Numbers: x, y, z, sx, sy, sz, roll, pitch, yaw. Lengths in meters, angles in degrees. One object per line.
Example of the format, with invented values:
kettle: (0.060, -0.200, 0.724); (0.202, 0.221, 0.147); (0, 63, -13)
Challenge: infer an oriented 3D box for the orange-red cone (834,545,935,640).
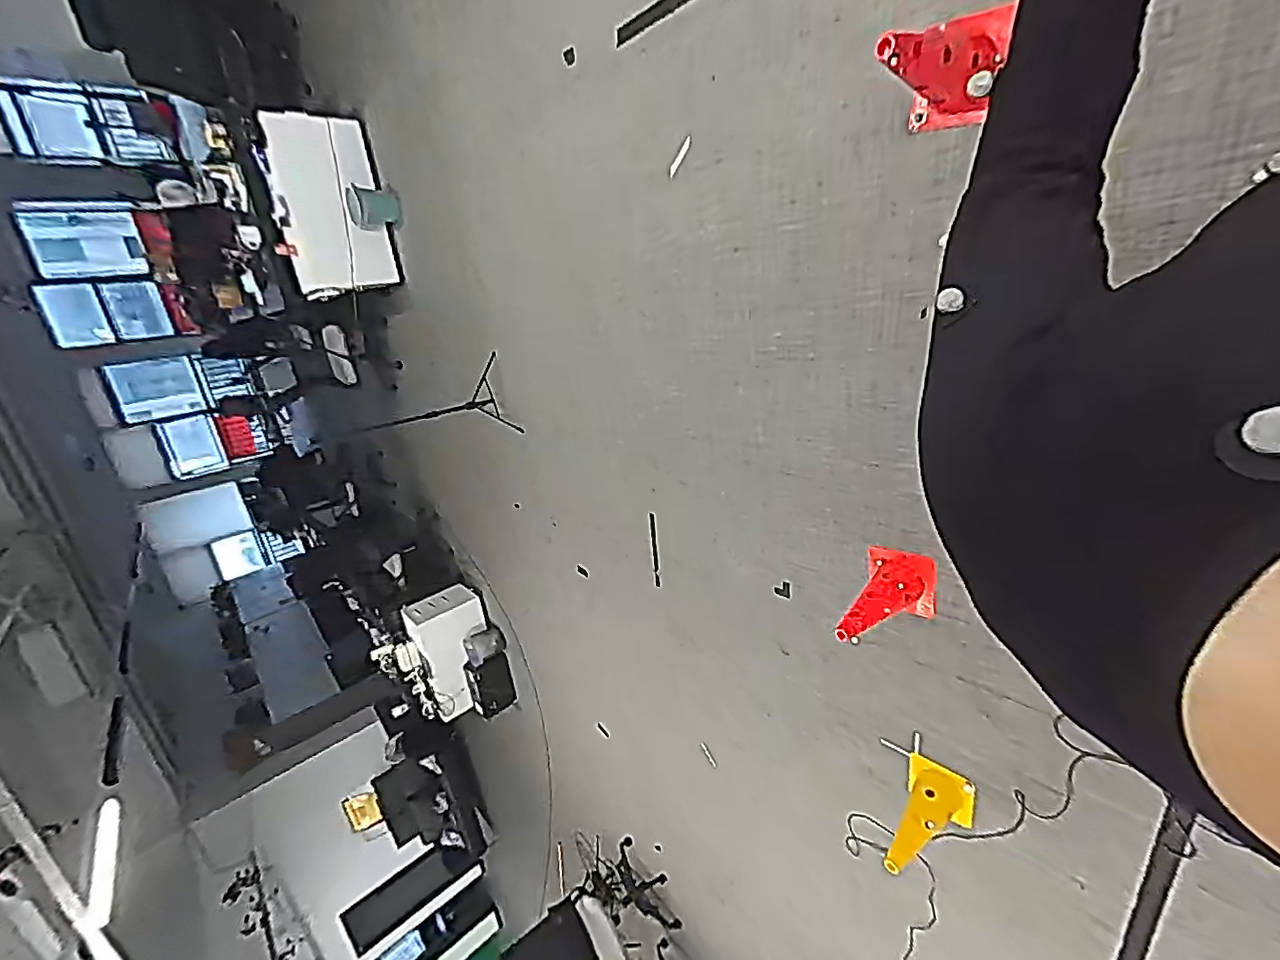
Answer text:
orange-red cone: (0.674, 0.363, 1.560); (0.198, 0.360, 0.199); (13, 119, 49)

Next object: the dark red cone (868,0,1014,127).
dark red cone: (0.553, -0.830, 1.056); (0.201, 0.394, 0.202); (22, 124, 43)
